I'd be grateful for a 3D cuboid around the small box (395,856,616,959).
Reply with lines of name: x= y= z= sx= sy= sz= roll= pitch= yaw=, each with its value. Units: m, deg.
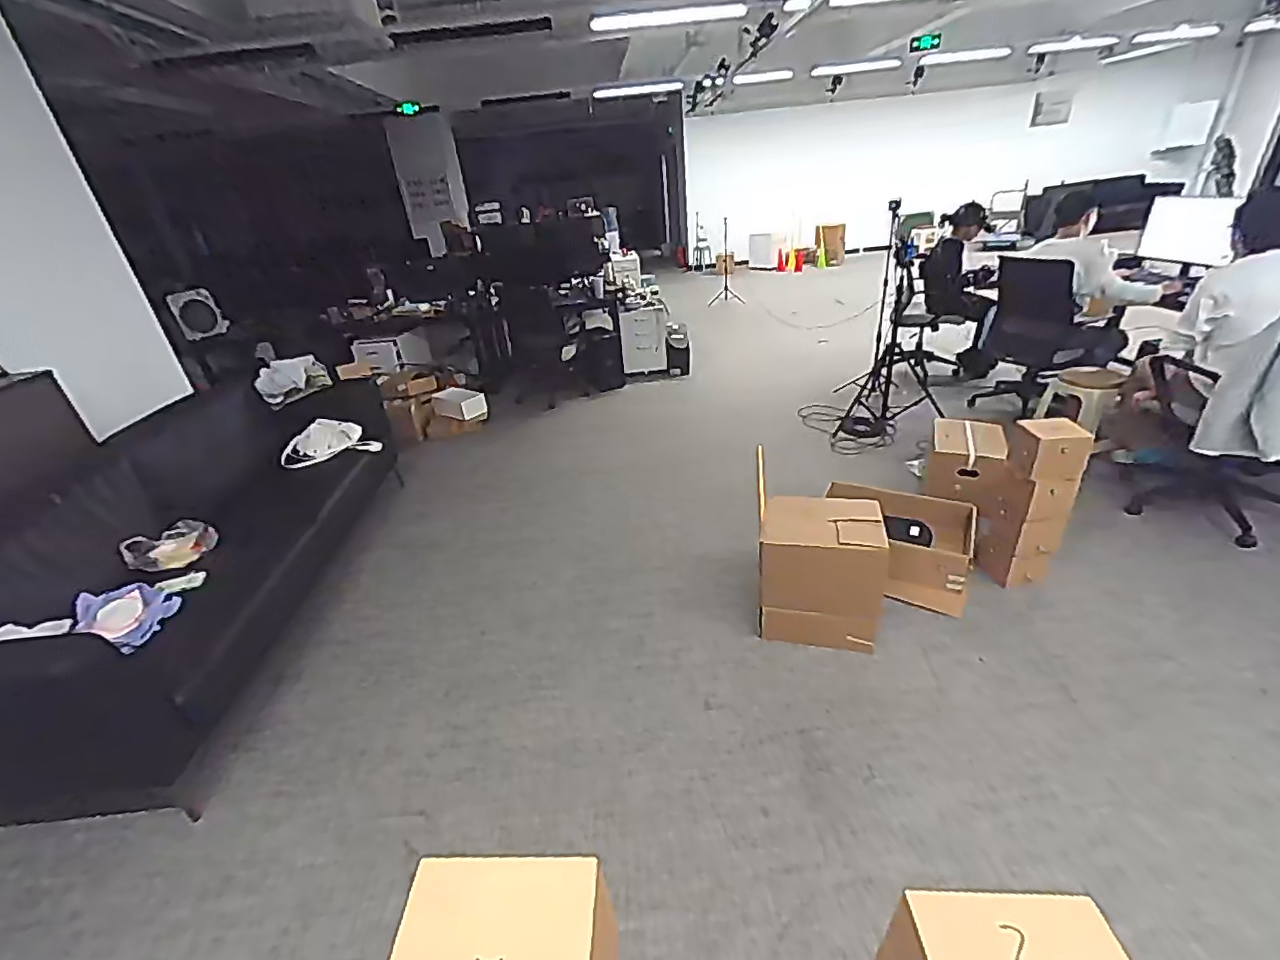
small box: x=-0.112 y=0.457 z=0.466 sx=0.168 sy=0.176 sz=0.179 roll=-2 pitch=36 yaw=4
